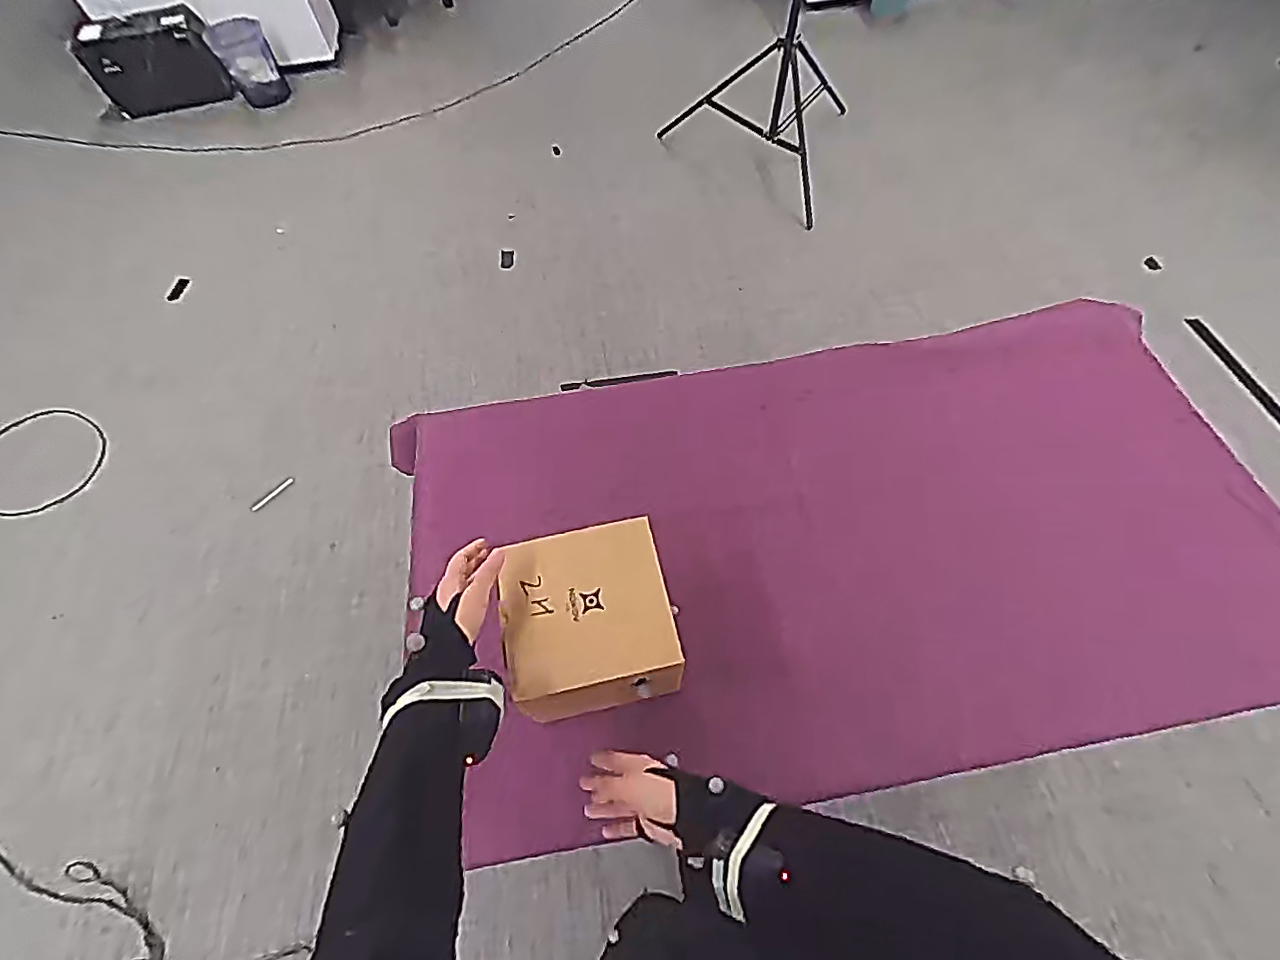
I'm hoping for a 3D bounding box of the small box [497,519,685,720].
[{"bbox_3d":[-0.054,0.167,0.627,0.179,0.176,0.168,-12,60,-5],"label":"small box"}]
